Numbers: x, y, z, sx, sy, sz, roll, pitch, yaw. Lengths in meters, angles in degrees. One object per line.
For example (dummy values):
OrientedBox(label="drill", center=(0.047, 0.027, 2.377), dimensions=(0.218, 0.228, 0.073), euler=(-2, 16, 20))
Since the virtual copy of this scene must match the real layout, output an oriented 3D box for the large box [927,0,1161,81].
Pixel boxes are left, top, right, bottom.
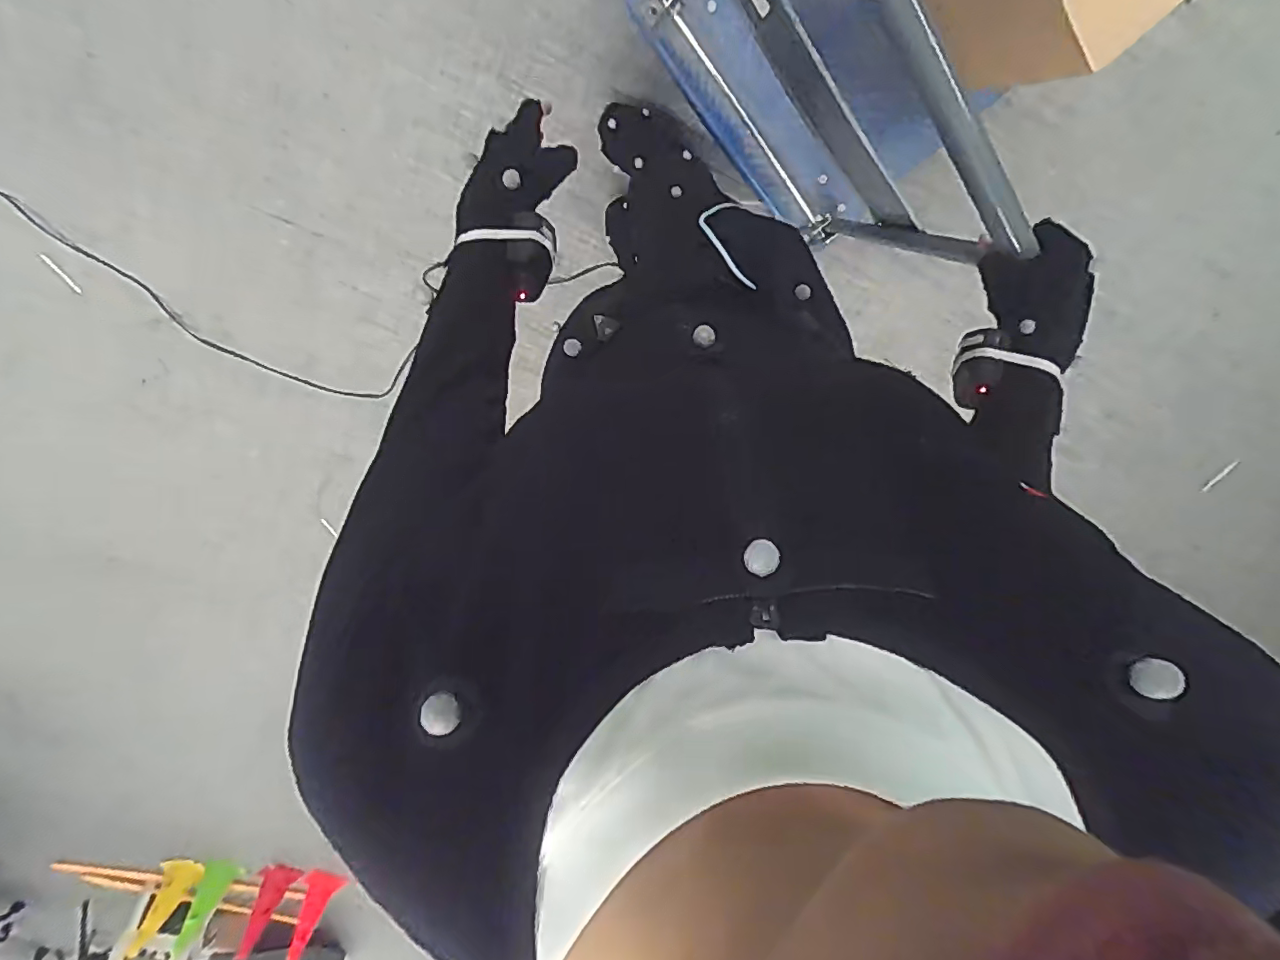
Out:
OrientedBox(label="large box", center=(0.581, -0.857, 0.740), dimensions=(0.320, 0.320, 0.408), euler=(-41, 114, 21))
